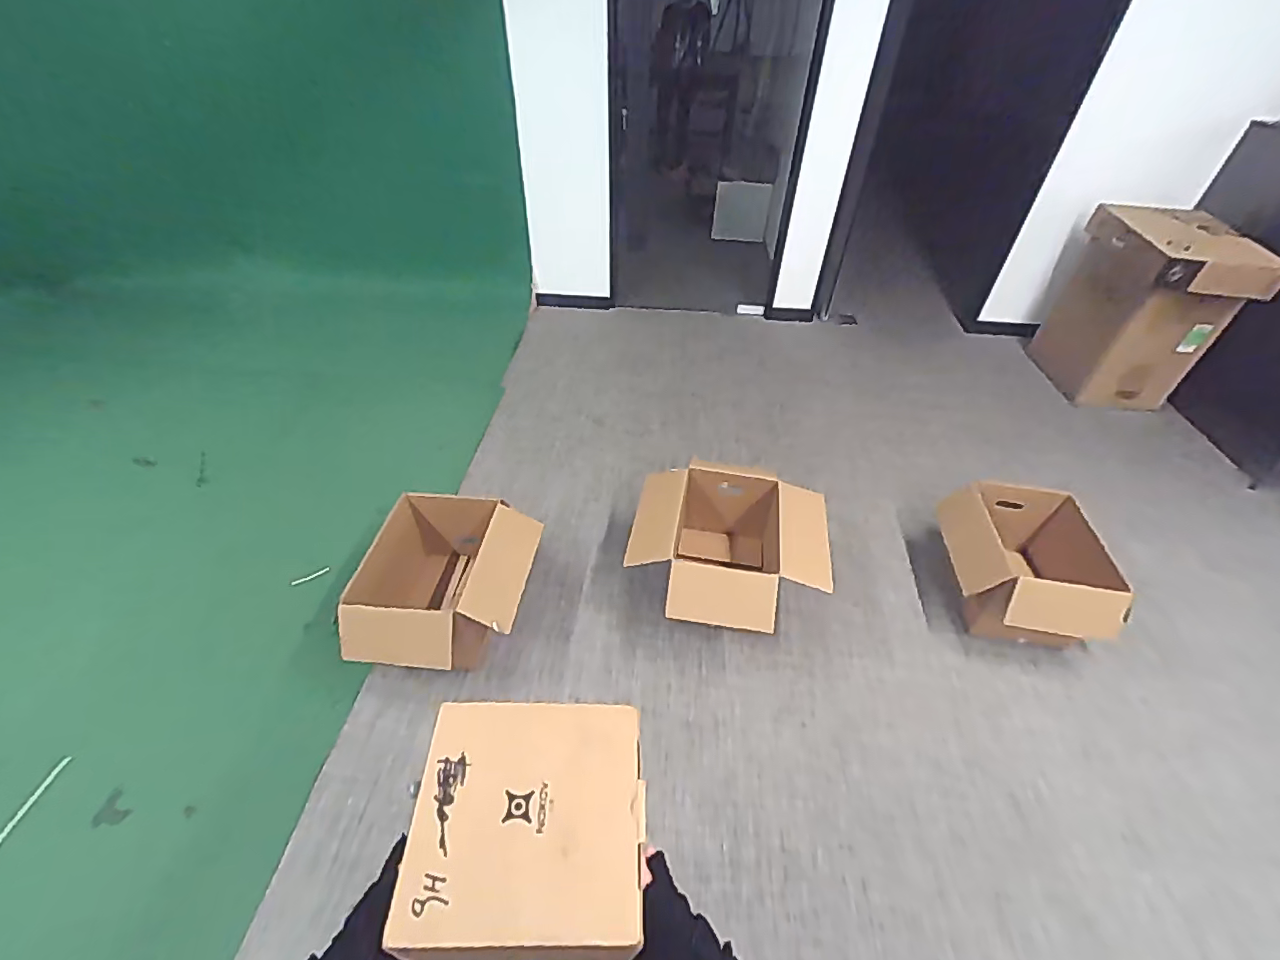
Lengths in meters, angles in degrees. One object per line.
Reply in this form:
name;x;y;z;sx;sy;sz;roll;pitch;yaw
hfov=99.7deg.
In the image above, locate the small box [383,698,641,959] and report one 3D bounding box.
small box;-0.097;0.315;0.481;0.179;0.176;0.168;5;43;-4
